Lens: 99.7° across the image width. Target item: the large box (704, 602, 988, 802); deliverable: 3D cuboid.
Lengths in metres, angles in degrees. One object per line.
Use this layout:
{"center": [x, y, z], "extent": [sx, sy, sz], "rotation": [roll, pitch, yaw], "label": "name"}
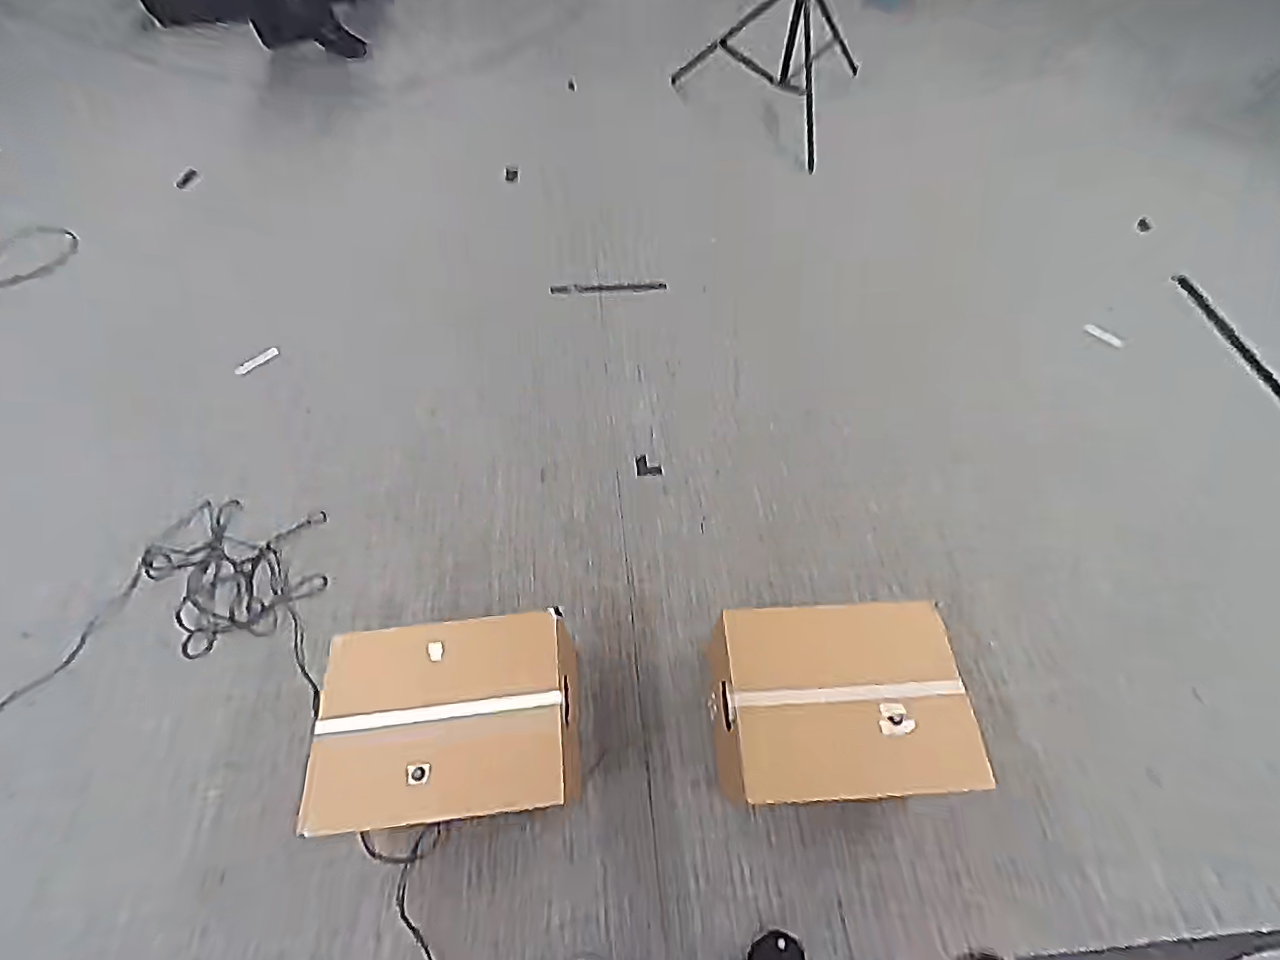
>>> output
{"center": [0.359, 0.449, 1.073], "extent": [0.408, 0.320, 0.320], "rotation": [-2, 60, -2], "label": "large box"}
